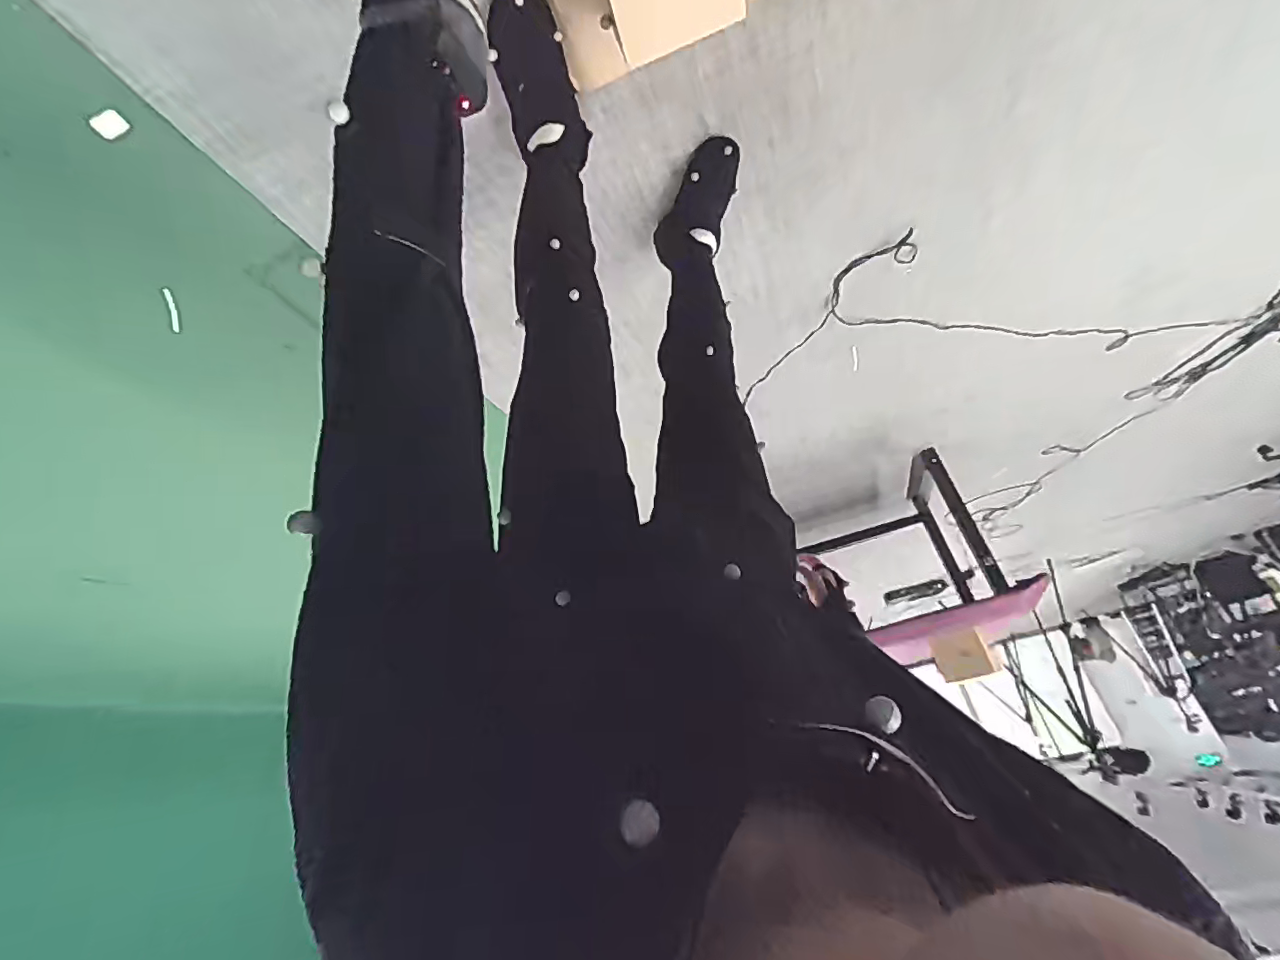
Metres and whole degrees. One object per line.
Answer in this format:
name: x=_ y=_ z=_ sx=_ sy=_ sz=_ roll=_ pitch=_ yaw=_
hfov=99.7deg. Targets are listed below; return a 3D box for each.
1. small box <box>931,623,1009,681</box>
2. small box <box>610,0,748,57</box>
small box: x=1.230 y=0.642 z=2.020 sx=0.168 sy=0.176 sz=0.179 roll=18 pitch=139 yaw=-43
small box: x=0.026 y=-0.688 z=0.669 sx=0.168 sy=0.176 sz=0.179 roll=-18 pitch=151 yaw=9
